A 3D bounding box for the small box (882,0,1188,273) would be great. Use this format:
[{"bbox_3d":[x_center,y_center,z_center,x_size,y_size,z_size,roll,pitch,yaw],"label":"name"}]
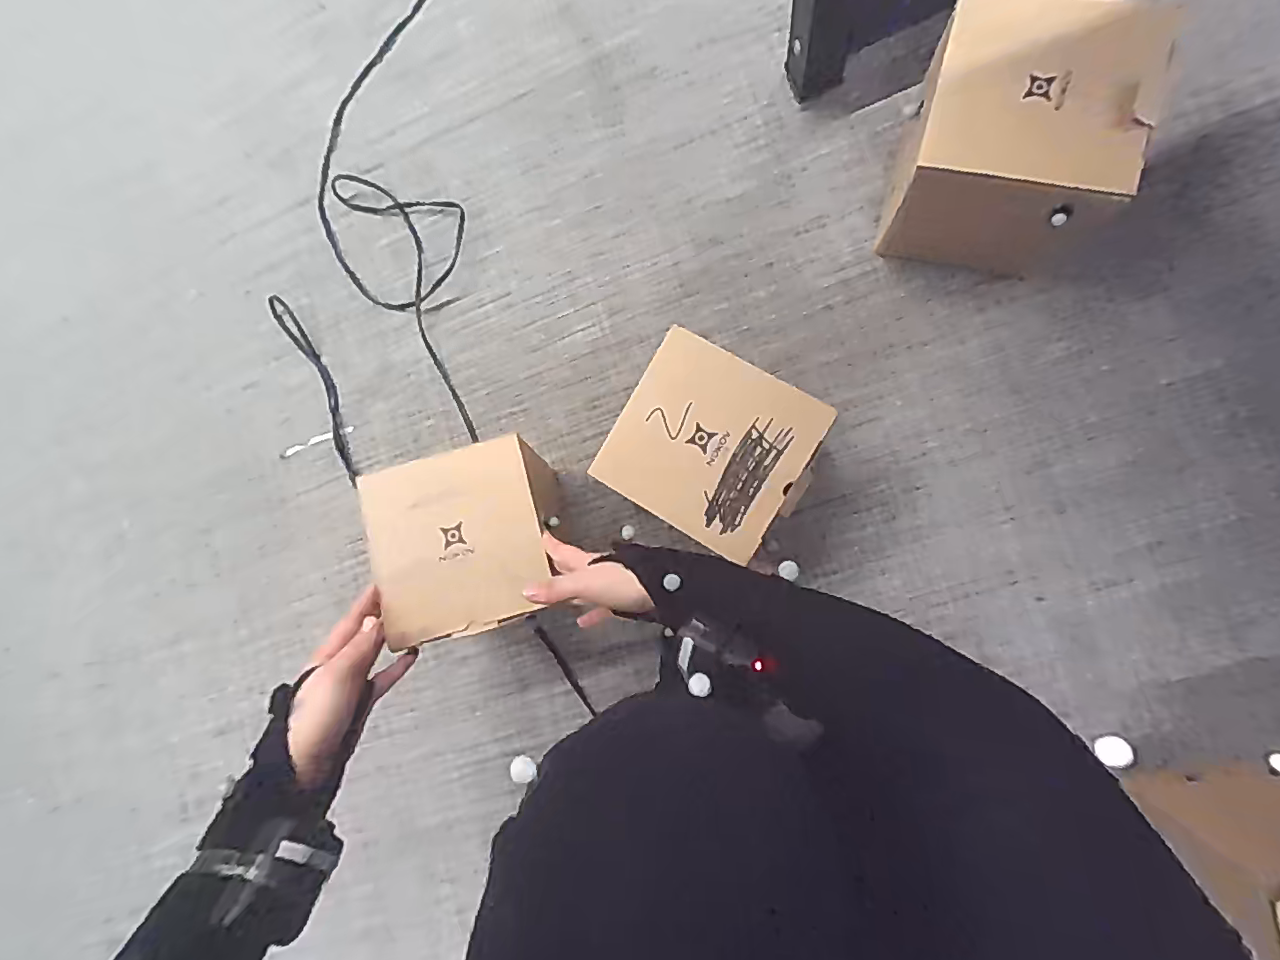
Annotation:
[{"bbox_3d":[0.363,-0.327,0.537,0.179,0.176,0.168,14,89,11],"label":"small box"}]
